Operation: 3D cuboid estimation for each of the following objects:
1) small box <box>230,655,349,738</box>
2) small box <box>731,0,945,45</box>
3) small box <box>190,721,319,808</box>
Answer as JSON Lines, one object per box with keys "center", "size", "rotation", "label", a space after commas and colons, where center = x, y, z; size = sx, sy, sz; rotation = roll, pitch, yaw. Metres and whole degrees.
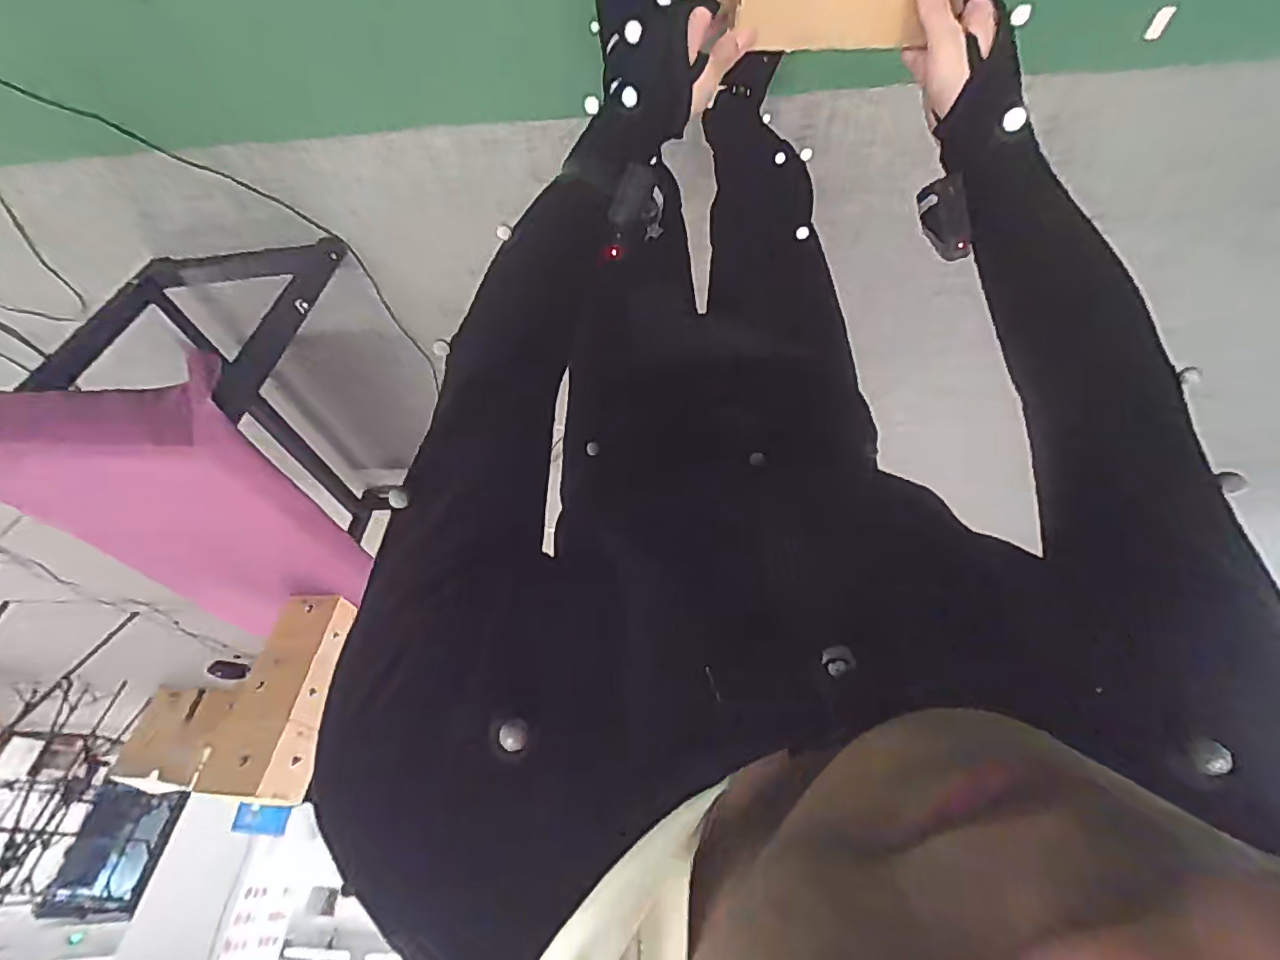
{"center": [-0.919, 0.573, 1.436], "size": [0.168, 0.176, 0.179], "rotation": [-1, 143, 8], "label": "small box"}
{"center": [0.170, -0.497, 0.455], "size": [0.179, 0.176, 0.168], "rotation": [0, 146, 1], "label": "small box"}
{"center": [-0.935, 0.703, 1.339], "size": [0.179, 0.176, 0.168], "rotation": [-2, 142, 8], "label": "small box"}
